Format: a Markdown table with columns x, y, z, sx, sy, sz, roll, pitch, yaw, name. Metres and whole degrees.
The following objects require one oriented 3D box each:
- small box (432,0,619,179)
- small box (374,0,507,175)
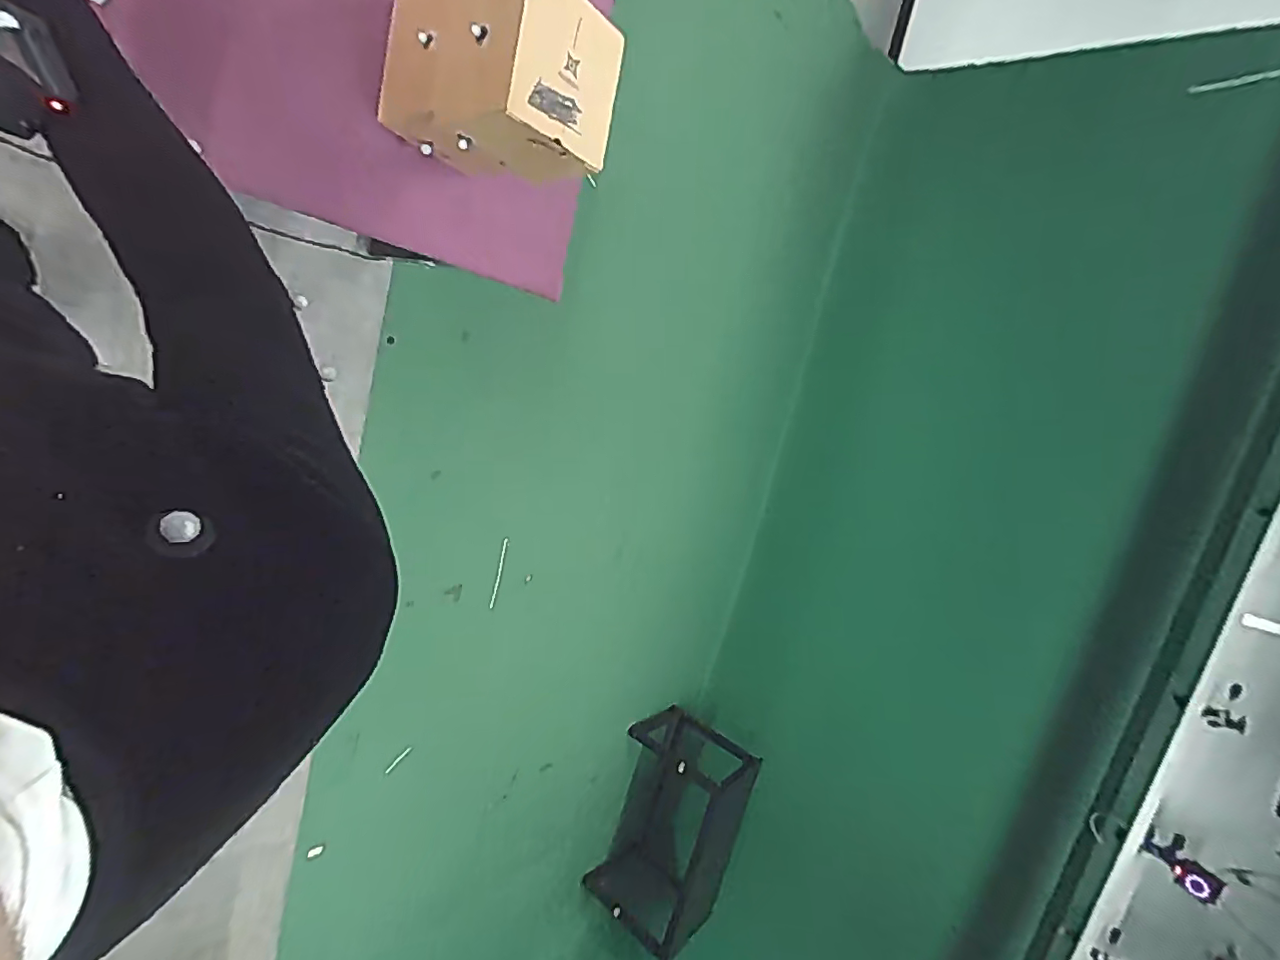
| x | y | z | sx | sy | sz | roll | pitch | yaw | name |
| --- | --- | --- | --- | --- | --- | --- | --- | --- | --- |
| -0.157 | -0.528 | 0.726 | 0.168 | 0.176 | 0.179 | 0 | 105 | -52 | small box |
| -0.277 | -0.592 | 0.820 | 0.168 | 0.176 | 0.179 | 4 | 103 | -53 | small box |
